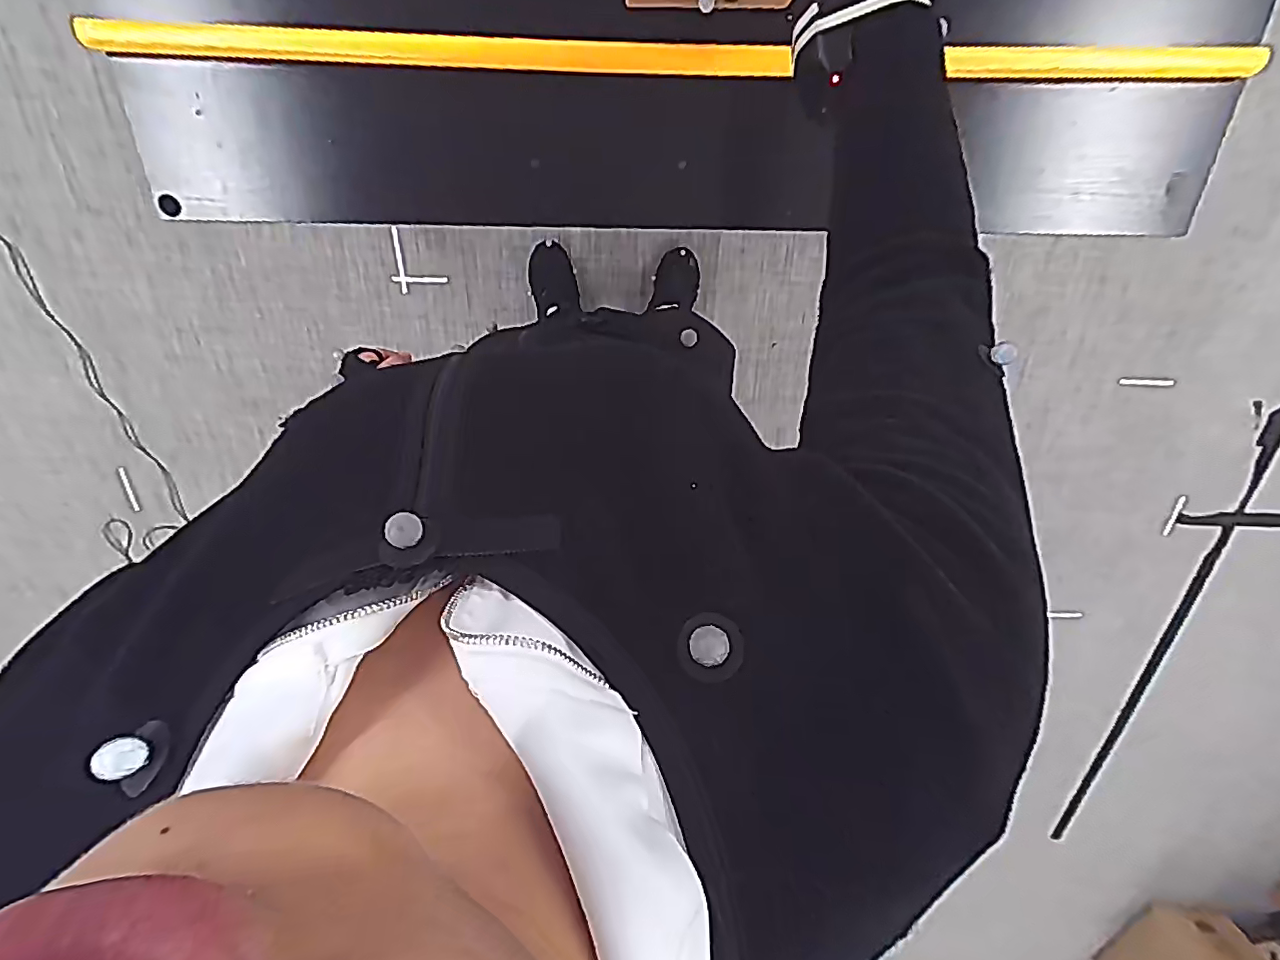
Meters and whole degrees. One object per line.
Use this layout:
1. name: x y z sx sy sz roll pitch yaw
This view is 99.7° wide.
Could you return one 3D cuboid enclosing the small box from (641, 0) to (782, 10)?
1. small box: 0.072 -0.533 0.447 0.168 0.176 0.179 0 116 -1
